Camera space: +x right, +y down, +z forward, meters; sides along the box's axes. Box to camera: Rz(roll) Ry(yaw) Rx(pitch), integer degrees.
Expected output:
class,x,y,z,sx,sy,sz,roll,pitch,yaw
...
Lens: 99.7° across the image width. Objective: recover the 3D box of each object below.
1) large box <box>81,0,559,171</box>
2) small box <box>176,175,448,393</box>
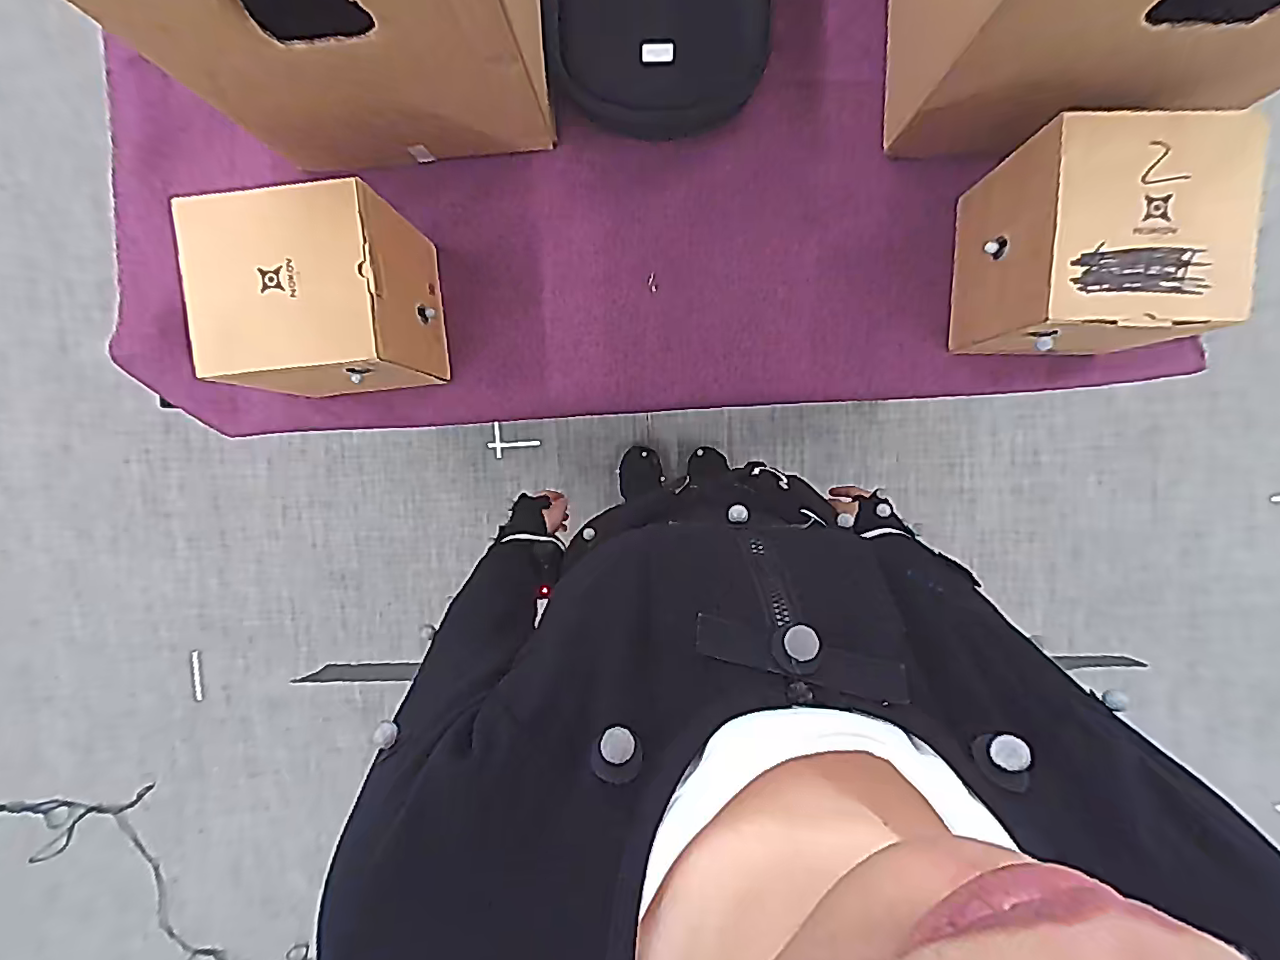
class,x,y,z,sx,sy,sz,roll,pitch,yaw
large box,-0.266,-0.561,0.475,0.320,0.320,0.408,-5,96,3
small box,-0.328,-0.189,0.574,0.179,0.176,0.168,-6,93,2
